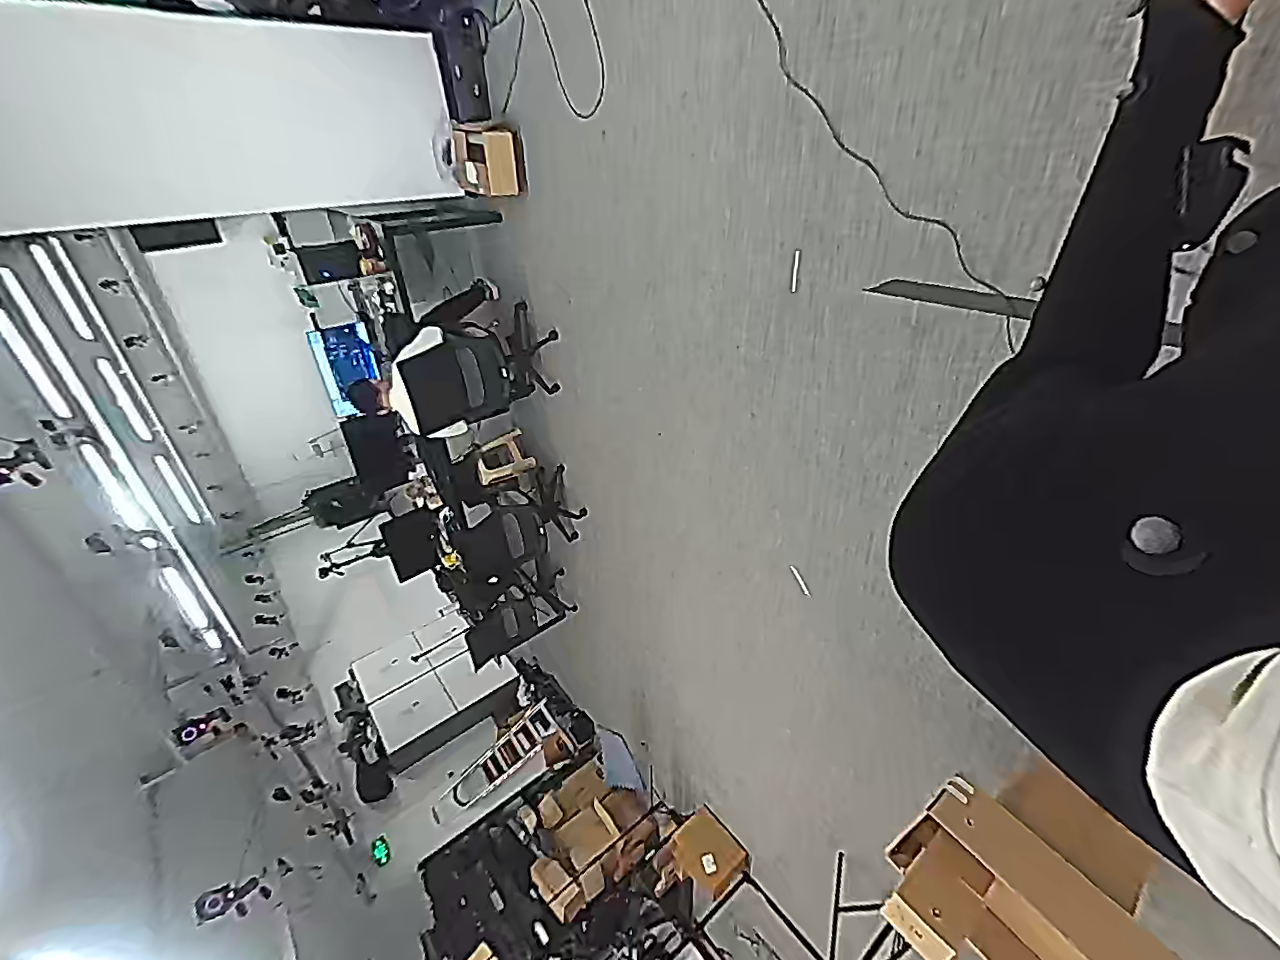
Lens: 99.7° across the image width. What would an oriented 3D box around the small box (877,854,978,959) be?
[{"bbox_3d":[0.815,1.218,1.534,0.179,0.176,0.168,37,140,38],"label":"small box"}]
